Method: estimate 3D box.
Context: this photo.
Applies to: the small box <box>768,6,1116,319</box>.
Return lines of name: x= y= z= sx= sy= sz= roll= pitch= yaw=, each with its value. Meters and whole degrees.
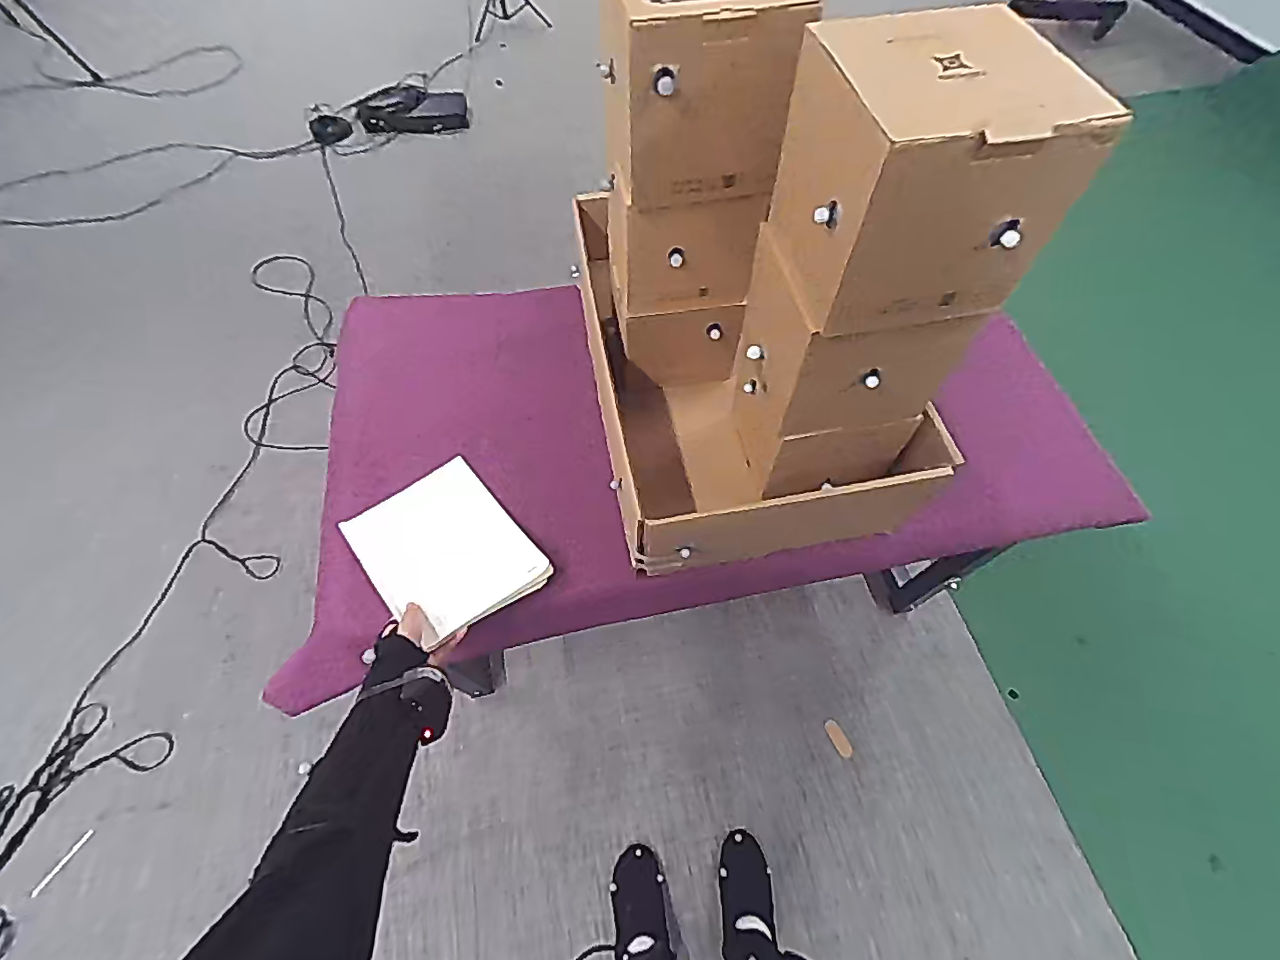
small box: x=0.221 y=-0.255 z=0.457 sx=0.168 sy=0.176 sz=0.179 roll=-9 pitch=59 yaw=-4

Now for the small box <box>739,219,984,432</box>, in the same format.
small box: x=0.222 y=-0.173 z=0.598 sx=0.179 sy=0.176 sz=0.168 roll=-9 pitch=59 yaw=-3

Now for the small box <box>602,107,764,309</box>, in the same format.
small box: x=0.047 y=-0.341 z=0.702 sx=0.168 sy=0.176 sz=0.179 roll=-8 pitch=62 yaw=-5
